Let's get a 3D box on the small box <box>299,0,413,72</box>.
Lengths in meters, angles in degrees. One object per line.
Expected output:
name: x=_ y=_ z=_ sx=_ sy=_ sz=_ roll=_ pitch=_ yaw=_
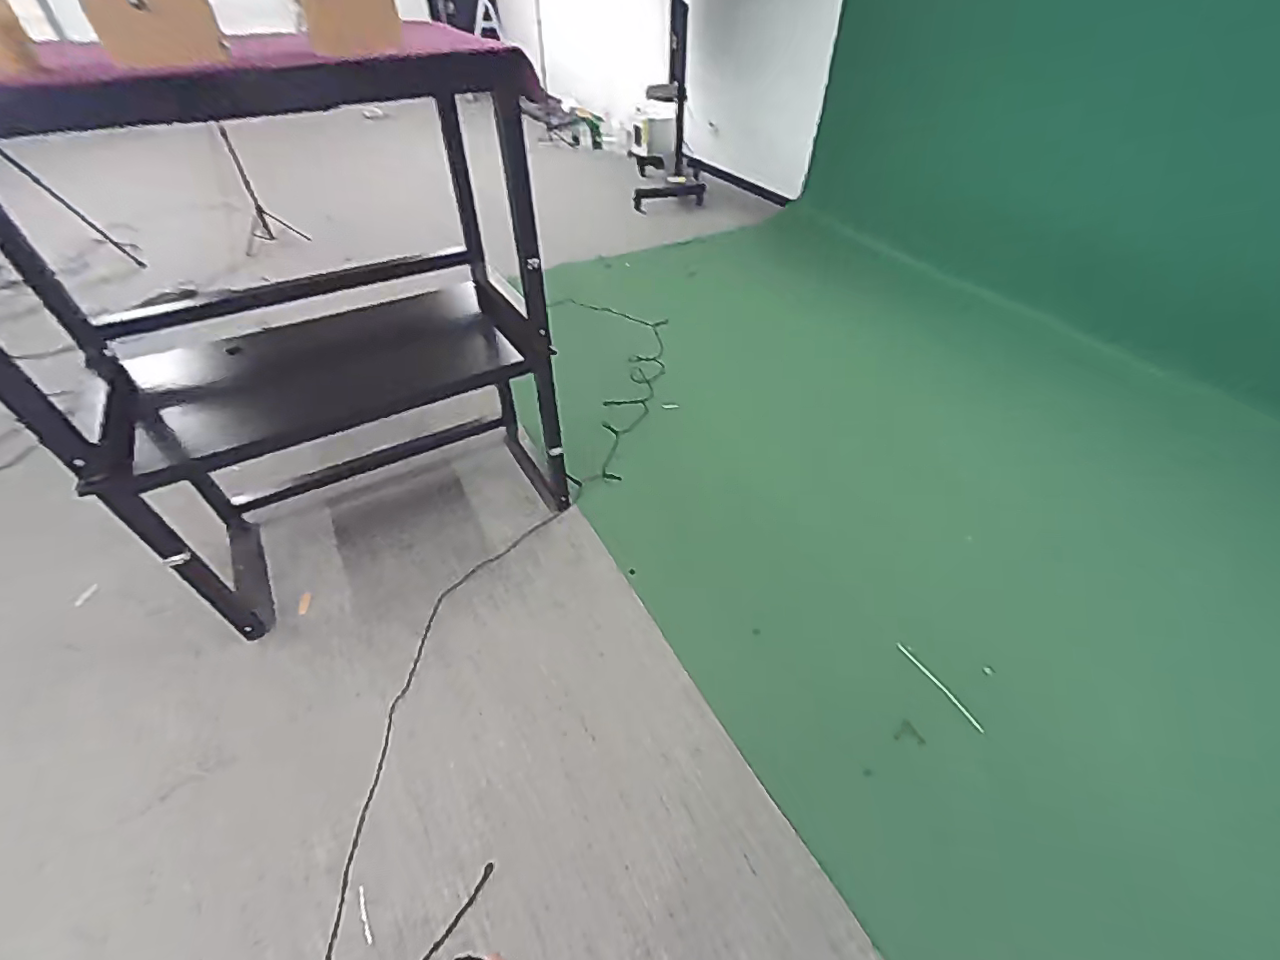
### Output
small box: x=-0.594 y=-0.956 z=1.112 sx=0.179 sy=0.176 sz=0.168 roll=-20 pitch=47 yaw=-19

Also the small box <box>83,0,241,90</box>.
small box: x=-0.866 y=-0.832 z=0.985 sx=0.179 sy=0.176 sz=0.168 roll=-20 pitch=47 yaw=-17
